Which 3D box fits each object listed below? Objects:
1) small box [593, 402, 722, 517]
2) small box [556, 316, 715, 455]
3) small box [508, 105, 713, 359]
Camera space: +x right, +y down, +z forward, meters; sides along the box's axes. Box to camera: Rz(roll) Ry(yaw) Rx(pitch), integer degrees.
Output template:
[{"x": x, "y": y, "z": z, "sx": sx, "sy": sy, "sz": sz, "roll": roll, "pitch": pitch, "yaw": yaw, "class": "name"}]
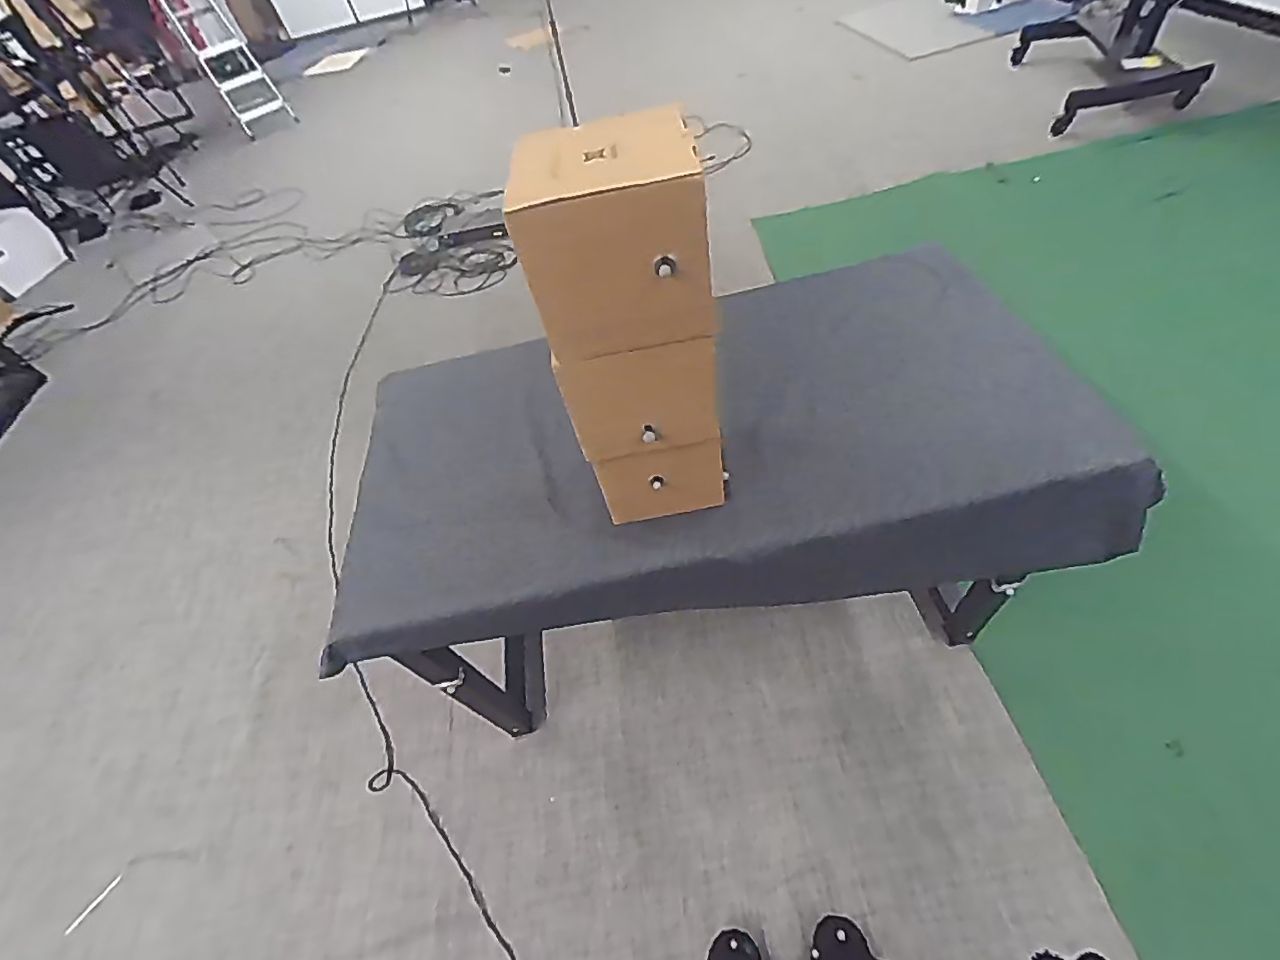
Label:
[{"x": 0.026, "y": -0.064, "z": 0.828, "sx": 0.179, "sy": 0.176, "sz": 0.168, "roll": -11, "pitch": 51, "yaw": 4, "class": "small box"}, {"x": -0.003, "y": -0.154, "z": 0.695, "sx": 0.179, "sy": 0.176, "sz": 0.168, "roll": -10, "pitch": 51, "yaw": 3, "class": "small box"}, {"x": -0.022, "y": -0.253, "z": 0.566, "sx": 0.179, "sy": 0.176, "sz": 0.168, "roll": -11, "pitch": 51, "yaw": 5, "class": "small box"}]
